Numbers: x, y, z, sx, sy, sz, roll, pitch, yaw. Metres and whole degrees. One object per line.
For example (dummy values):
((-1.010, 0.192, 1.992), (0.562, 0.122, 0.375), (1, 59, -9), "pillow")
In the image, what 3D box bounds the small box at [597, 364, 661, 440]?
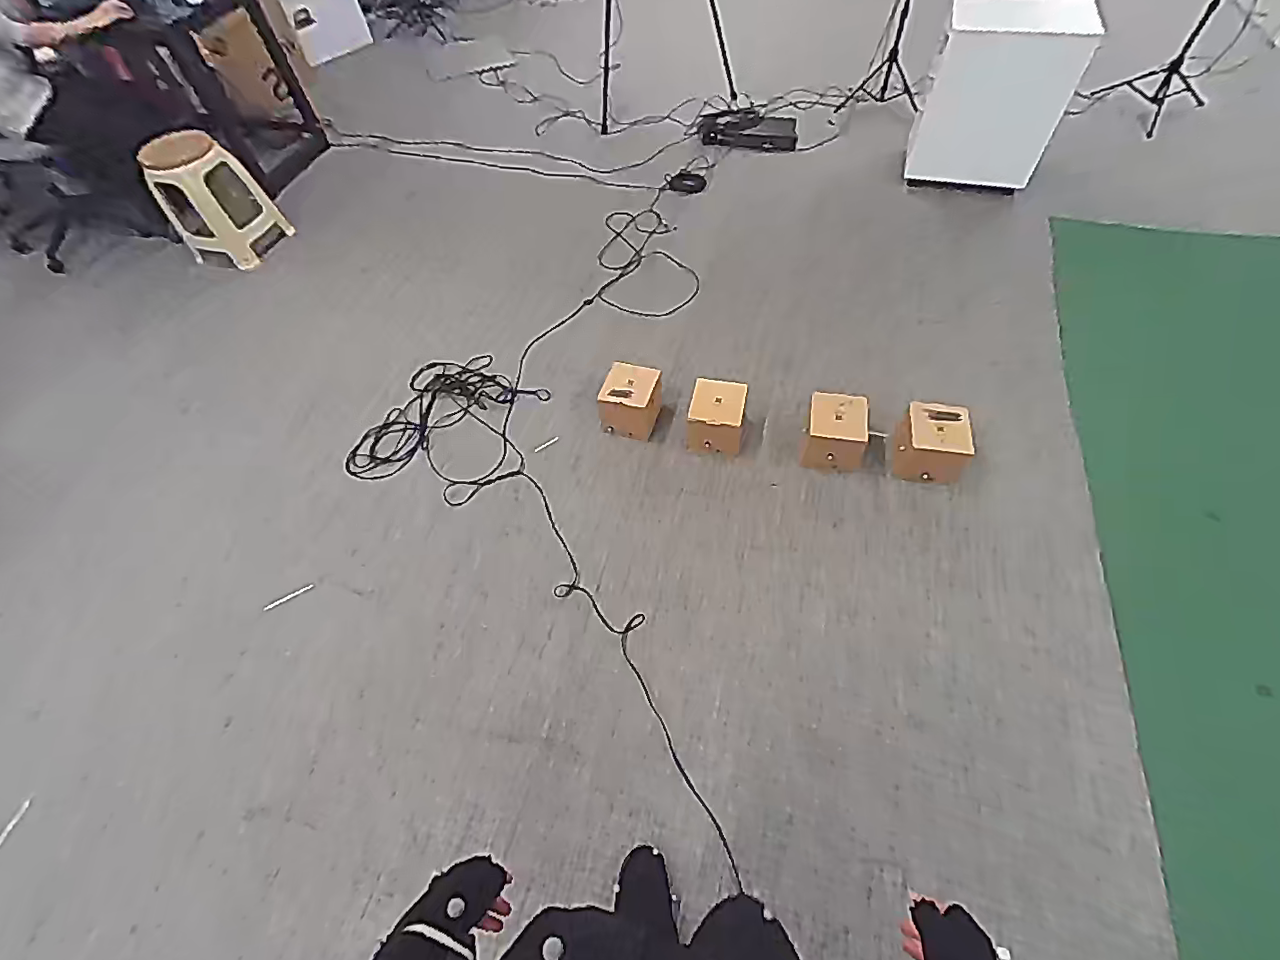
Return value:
((-0.029, -0.260, 1.821), (0.168, 0.176, 0.179), (13, 58, 13), "small box")

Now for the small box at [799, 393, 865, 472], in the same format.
((0.598, -0.145, 1.694), (0.168, 0.176, 0.179), (8, 58, 9), "small box")

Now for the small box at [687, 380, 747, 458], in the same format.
((0.248, -0.197, 1.759), (0.168, 0.176, 0.179), (9, 59, 11), "small box")
